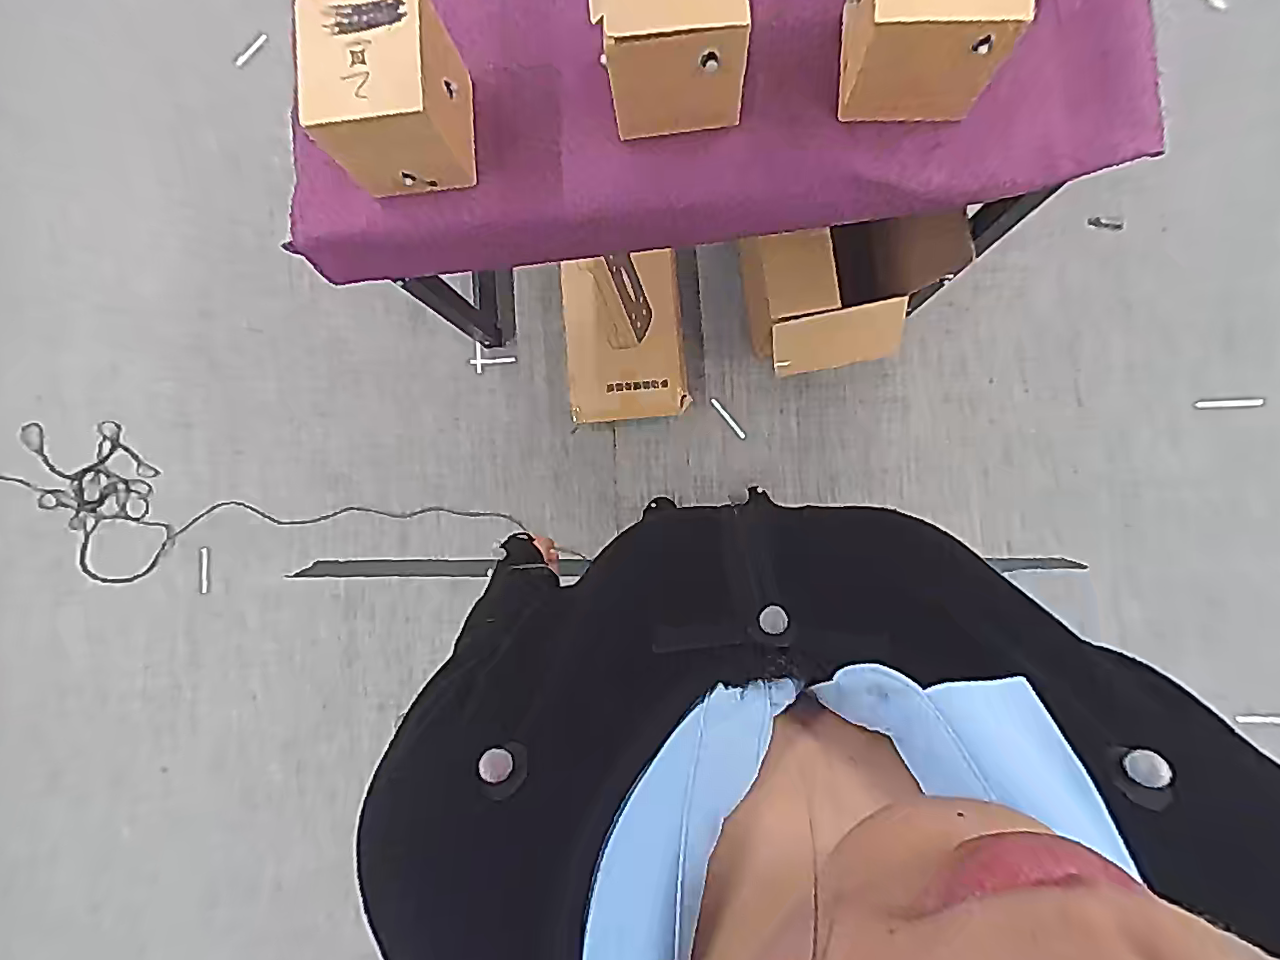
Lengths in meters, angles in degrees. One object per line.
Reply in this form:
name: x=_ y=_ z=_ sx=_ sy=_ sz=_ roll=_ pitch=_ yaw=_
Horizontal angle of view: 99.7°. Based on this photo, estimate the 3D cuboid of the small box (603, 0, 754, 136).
small box: x=0.048 y=-0.594 z=0.715 sx=0.179 sy=0.176 sz=0.168 roll=-4 pitch=85 yaw=5

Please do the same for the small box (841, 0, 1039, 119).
small box: x=0.365 y=-0.592 z=0.686 sx=0.179 sy=0.176 sz=0.168 roll=3 pitch=89 yaw=5
